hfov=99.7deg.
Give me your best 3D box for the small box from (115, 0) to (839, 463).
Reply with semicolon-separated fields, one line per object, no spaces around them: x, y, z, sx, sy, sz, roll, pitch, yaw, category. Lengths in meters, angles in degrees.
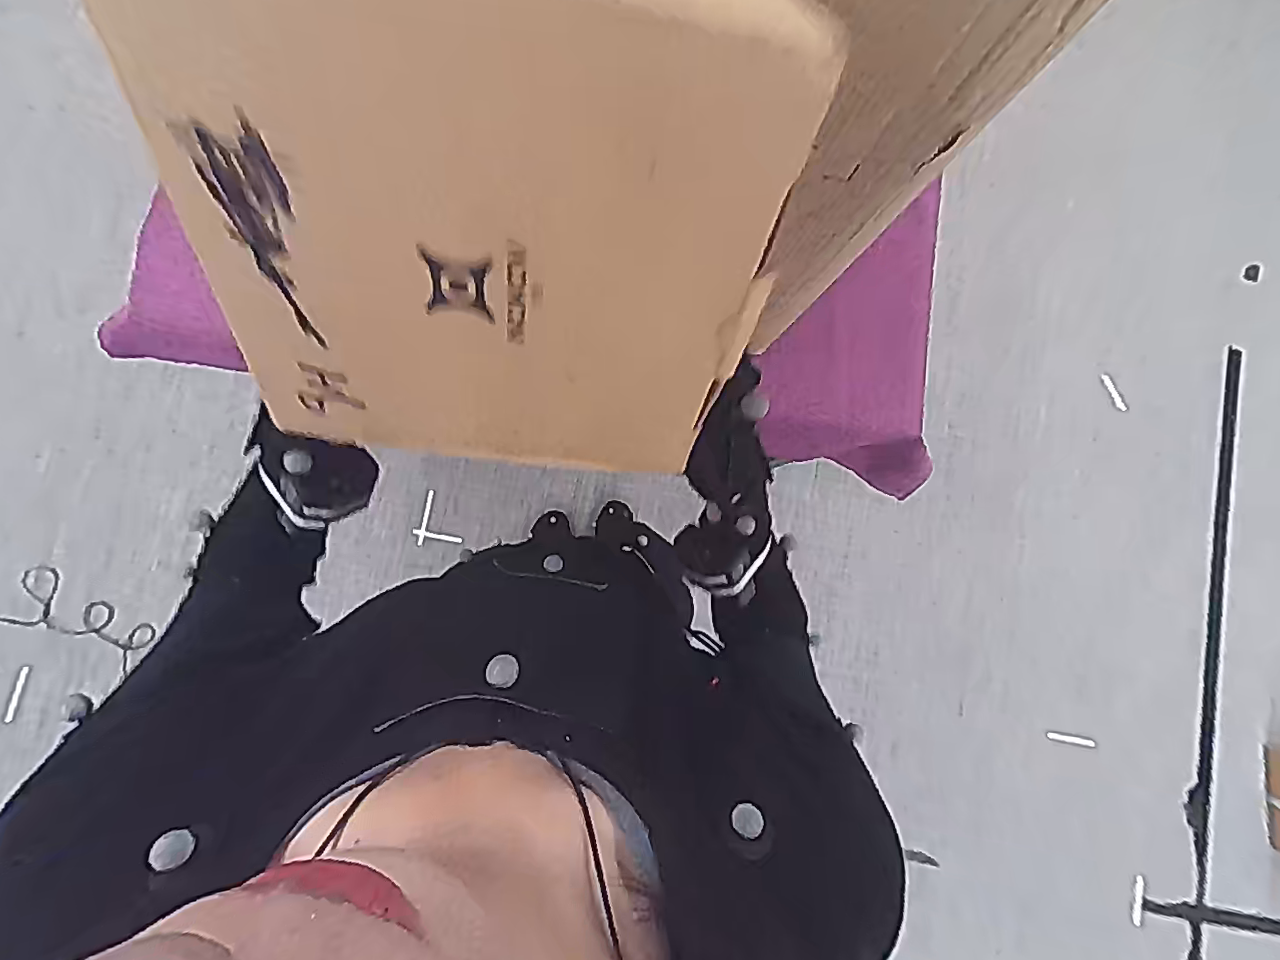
-0.051;-0.129;0.233;0.179;0.168;0.176;6;49;-10;small box
